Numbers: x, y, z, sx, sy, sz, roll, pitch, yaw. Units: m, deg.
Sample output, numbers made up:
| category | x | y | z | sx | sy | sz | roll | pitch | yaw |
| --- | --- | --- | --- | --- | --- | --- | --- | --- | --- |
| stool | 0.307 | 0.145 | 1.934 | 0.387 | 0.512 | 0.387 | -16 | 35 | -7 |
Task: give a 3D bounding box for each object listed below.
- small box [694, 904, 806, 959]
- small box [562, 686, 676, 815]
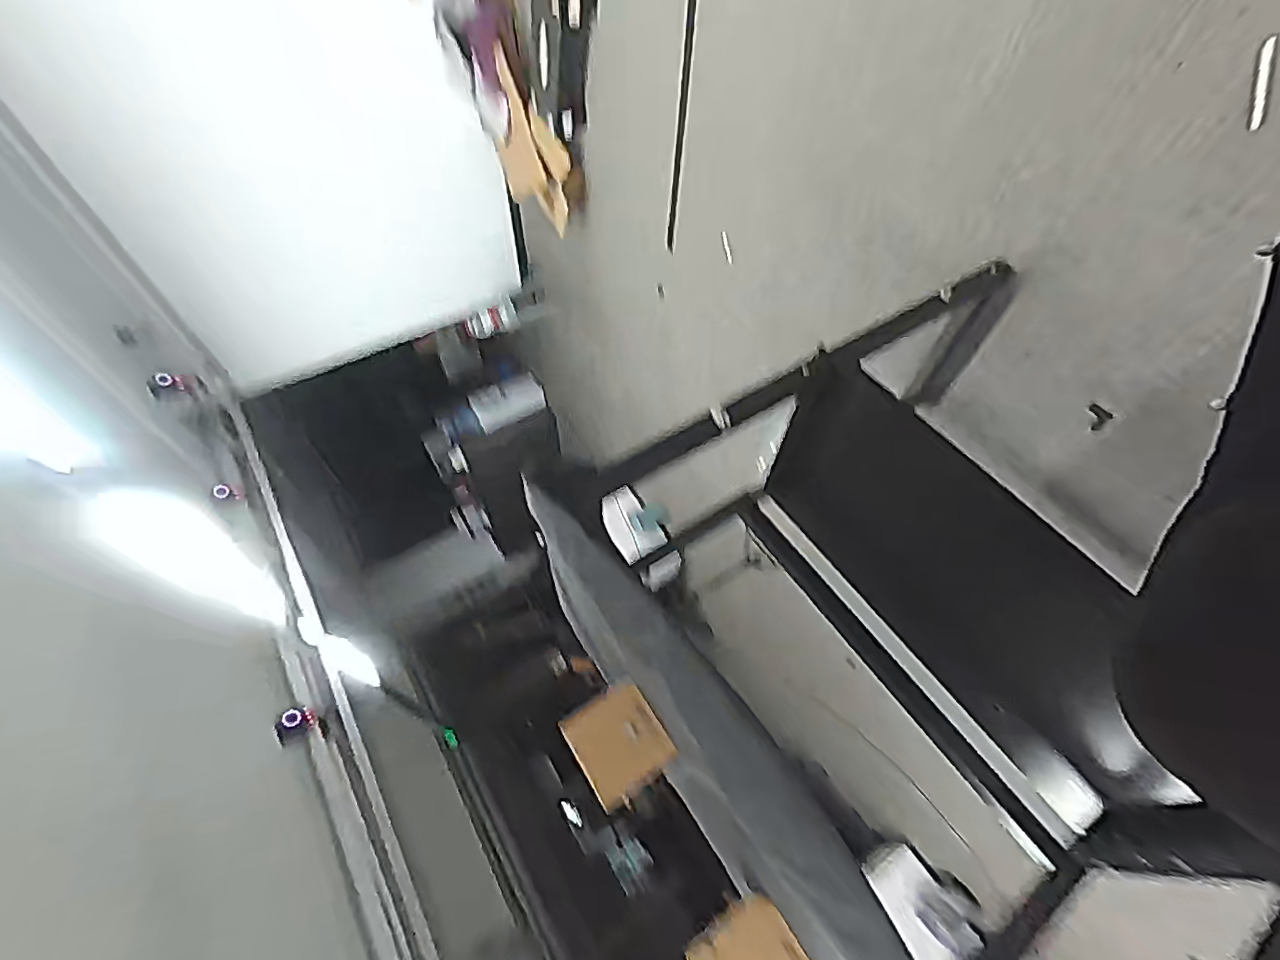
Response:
| category | x | y | z | sx | sy | sz | roll | pitch | yaw |
| --- | --- | --- | --- | --- | --- | --- | --- | --- | --- |
| small box | 0.206 | 0.872 | 0.926 | 0.168 | 0.176 | 0.179 | 52 | 159 | 26 |
| small box | -0.042 | 0.551 | 1.106 | 0.168 | 0.176 | 0.179 | 52 | 158 | 23 |
